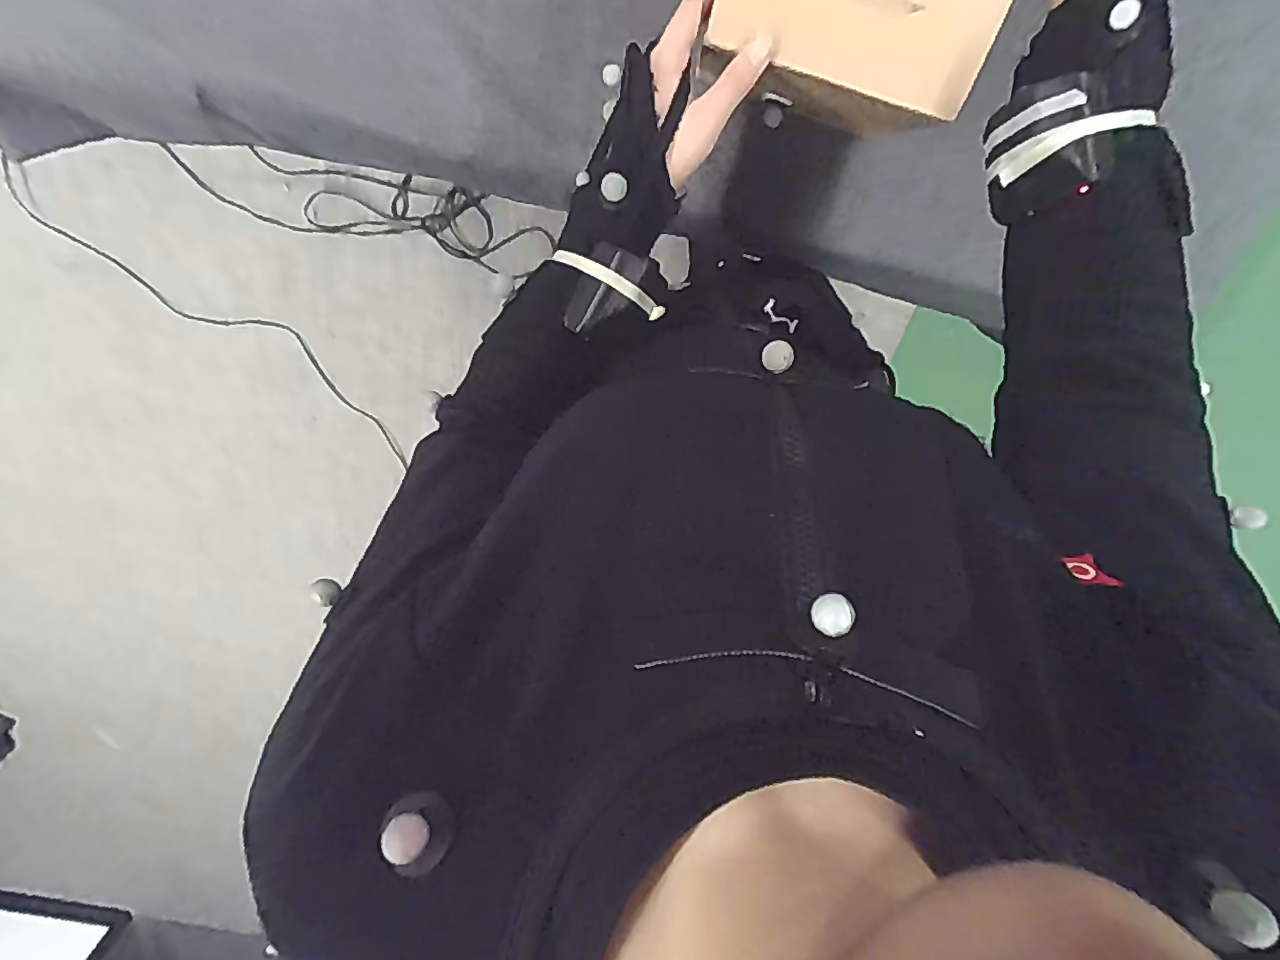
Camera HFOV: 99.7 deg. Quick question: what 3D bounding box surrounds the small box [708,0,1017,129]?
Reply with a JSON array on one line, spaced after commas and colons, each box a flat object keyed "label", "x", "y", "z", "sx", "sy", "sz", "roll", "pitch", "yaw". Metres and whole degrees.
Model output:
[{"label": "small box", "x": 0.145, "y": -0.353, "z": 0.351, "sx": 0.168, "sy": 0.176, "sz": 0.179, "roll": 14, "pitch": 121, "yaw": -3}]
